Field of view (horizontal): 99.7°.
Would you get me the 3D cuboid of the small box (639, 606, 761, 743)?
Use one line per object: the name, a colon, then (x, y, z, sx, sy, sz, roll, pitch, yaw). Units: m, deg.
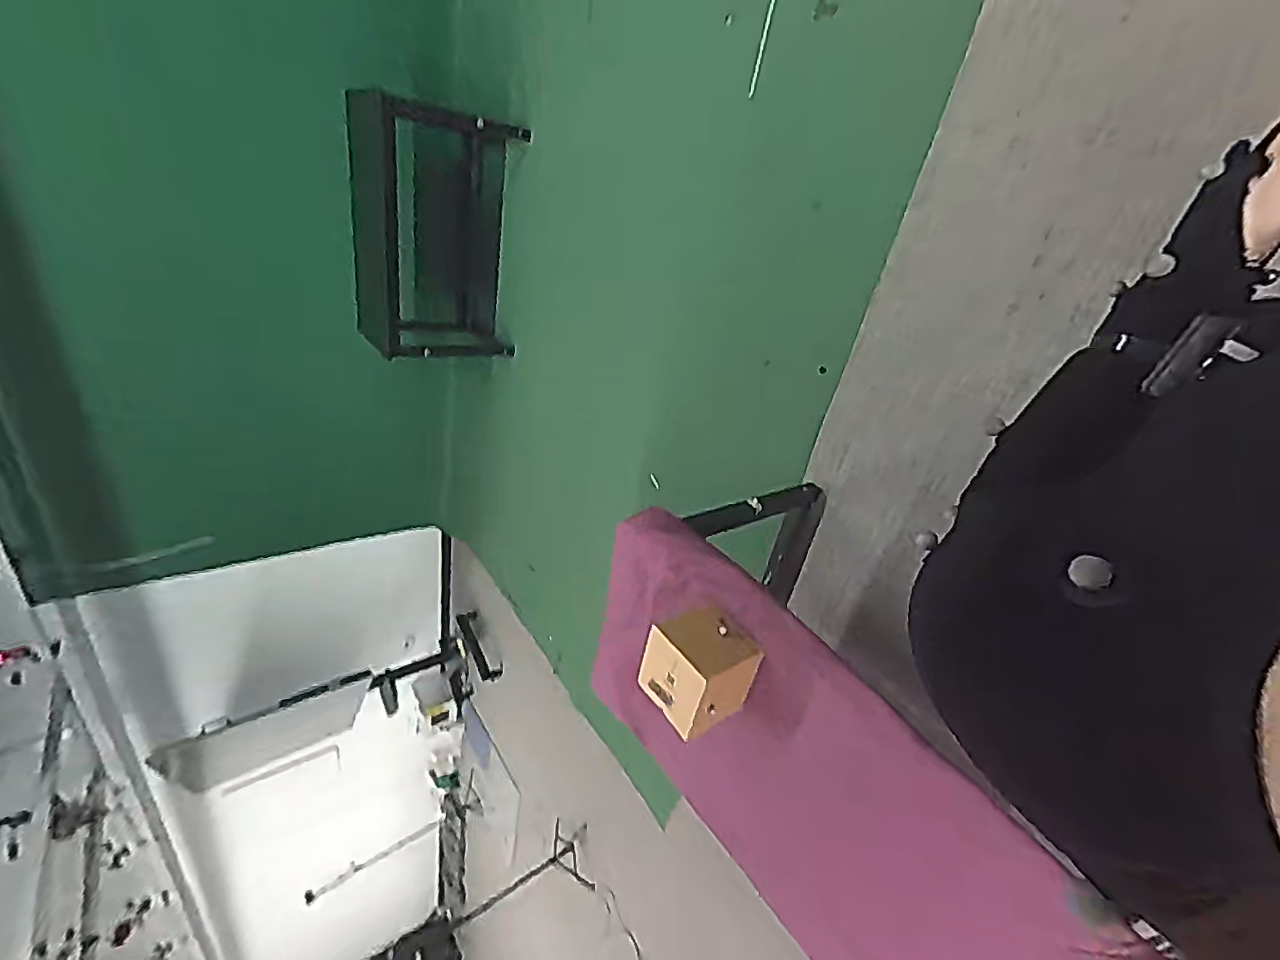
small box: (0.124, 0.394, 1.119, 0.168, 0.176, 0.179, 38, 127, 40)
